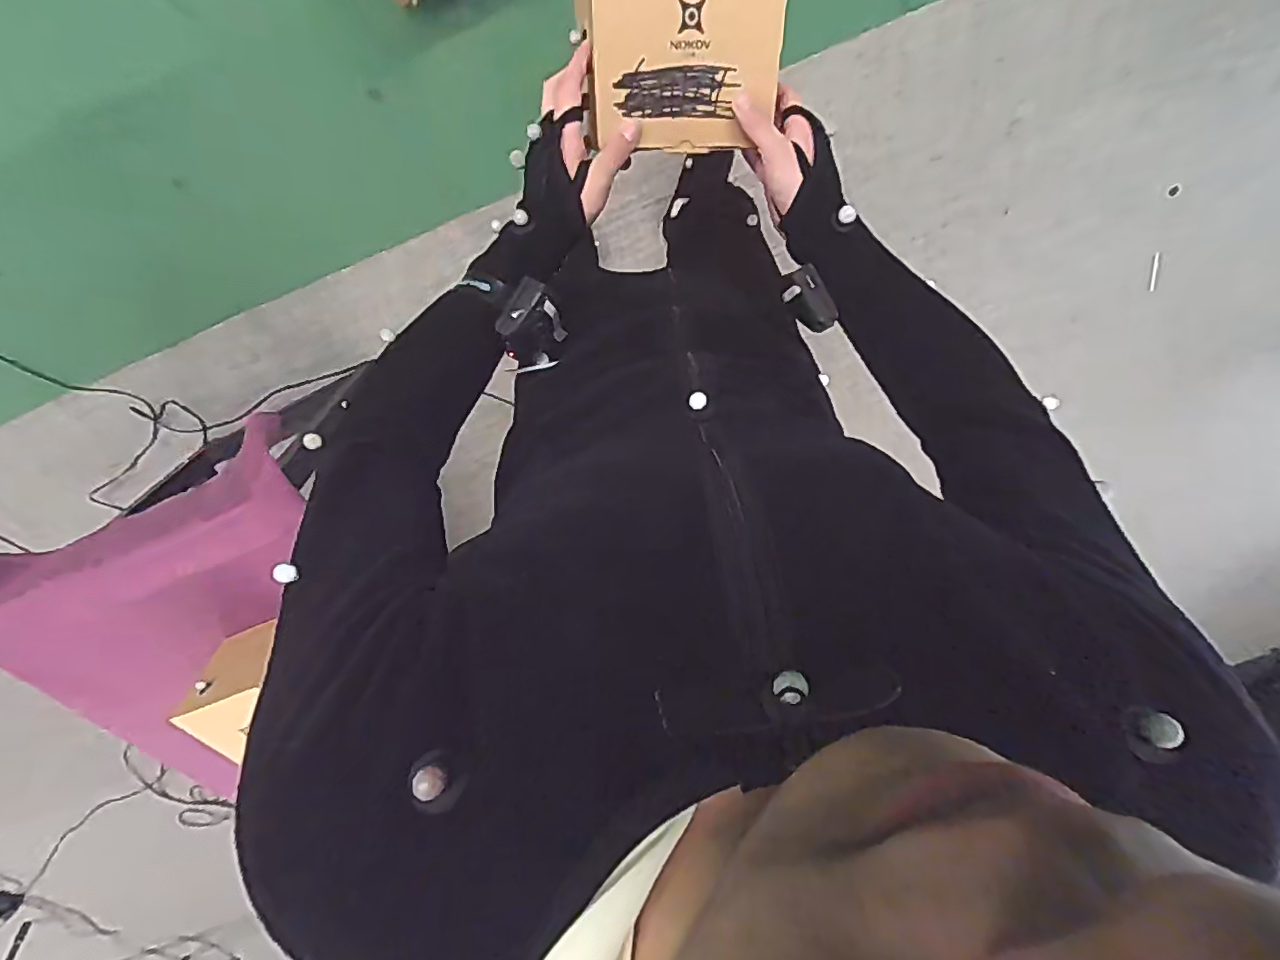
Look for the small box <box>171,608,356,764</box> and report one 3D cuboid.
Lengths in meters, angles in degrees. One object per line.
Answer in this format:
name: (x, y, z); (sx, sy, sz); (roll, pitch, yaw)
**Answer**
small box: (-0.644, 0.359, 0.954); (0.179, 0.176, 0.168); (-21, 123, 6)
